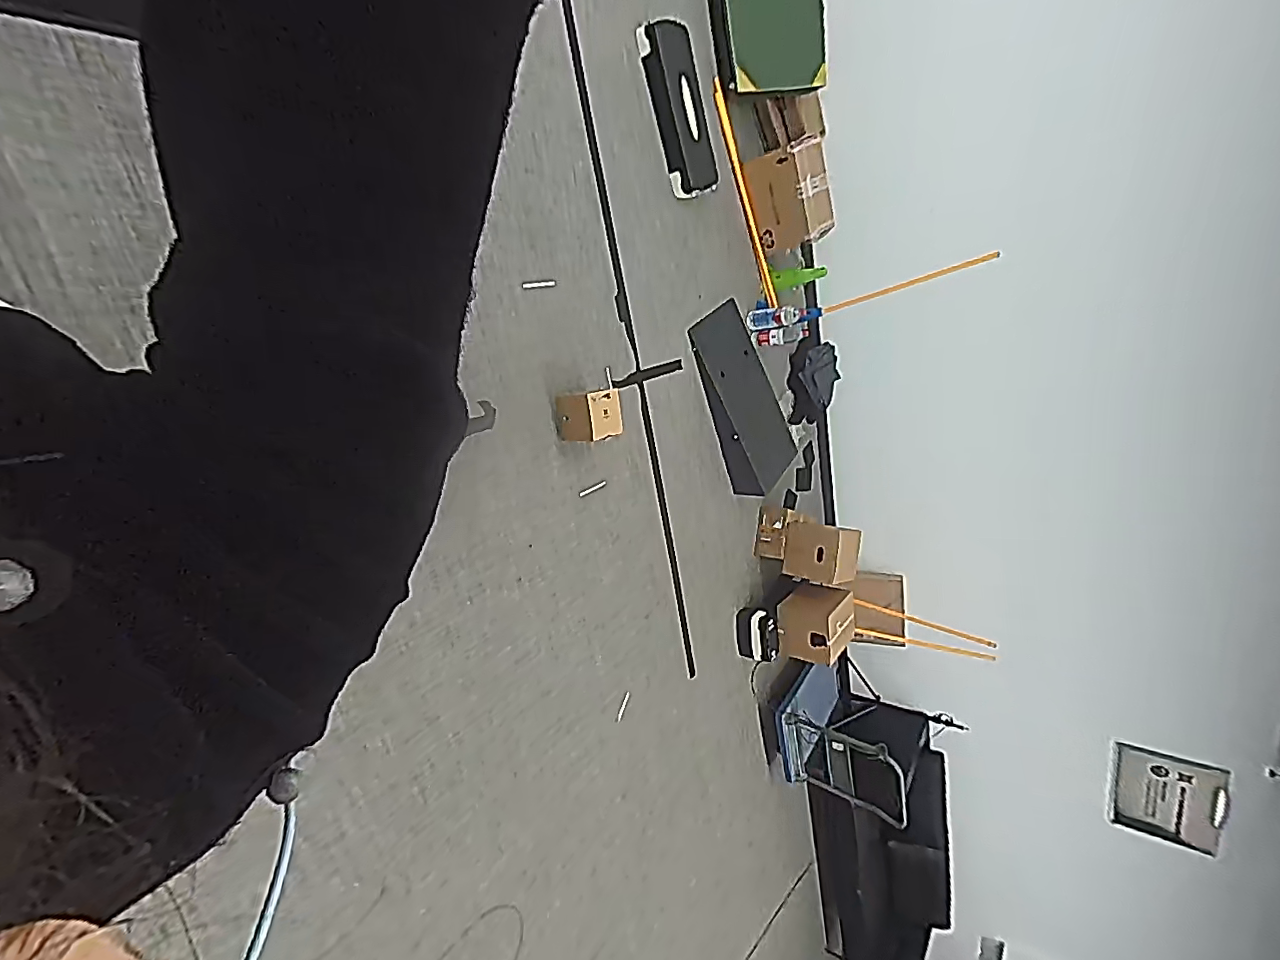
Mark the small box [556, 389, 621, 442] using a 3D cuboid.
[{"bbox_3d":[-0.195,-0.246,2.042,0.168,0.176,0.179,-21,110,-48],"label":"small box"}]
